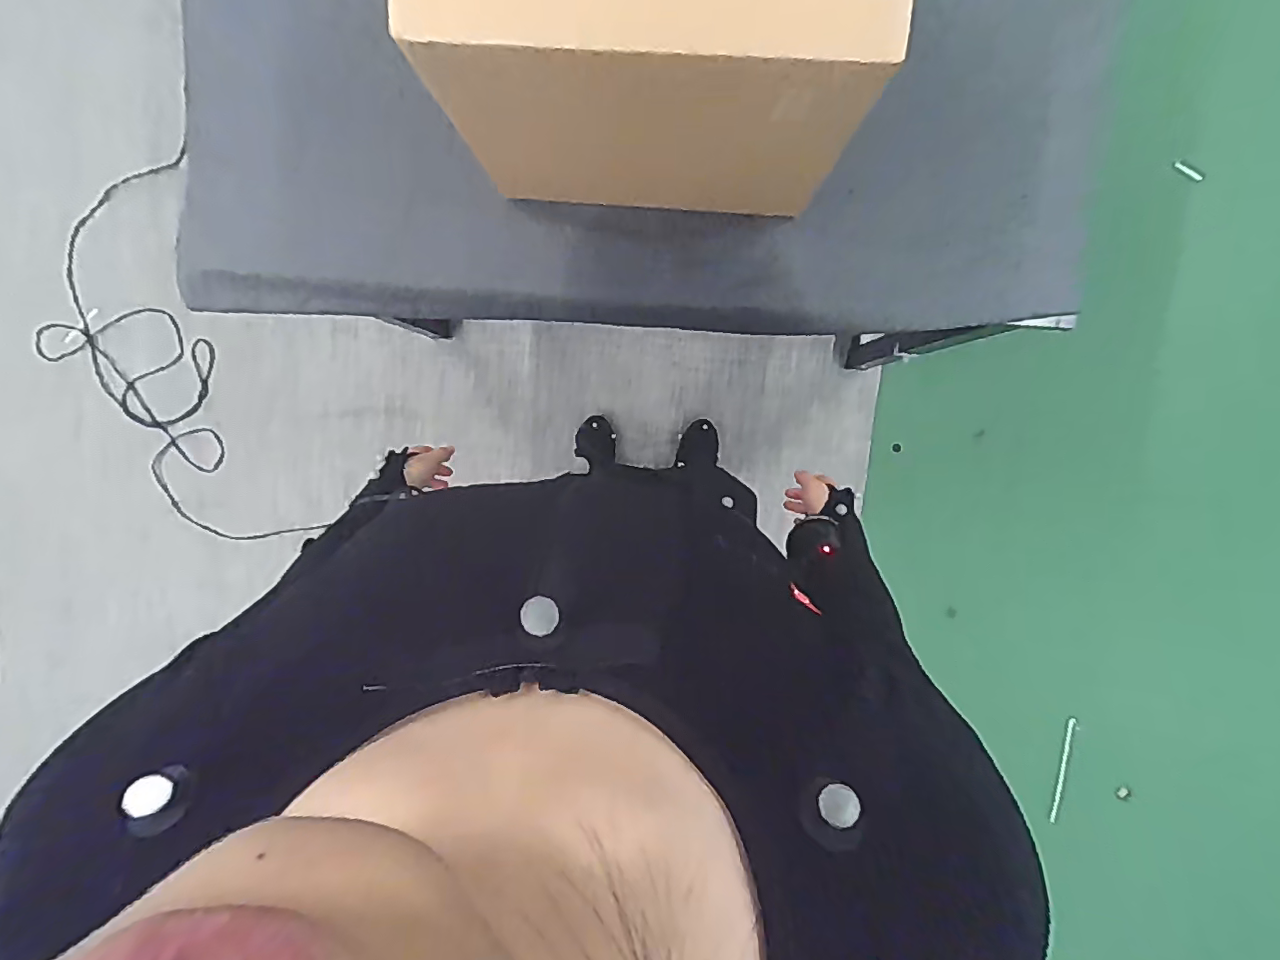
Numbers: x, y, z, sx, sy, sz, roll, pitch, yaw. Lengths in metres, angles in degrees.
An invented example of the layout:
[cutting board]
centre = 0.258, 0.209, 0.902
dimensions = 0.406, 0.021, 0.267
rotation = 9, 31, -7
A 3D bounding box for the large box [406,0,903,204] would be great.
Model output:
[large box]
centre = 0.018, -0.513, 0.565
dimensions = 0.408, 0.320, 0.320
rotation = 4, 97, 1
